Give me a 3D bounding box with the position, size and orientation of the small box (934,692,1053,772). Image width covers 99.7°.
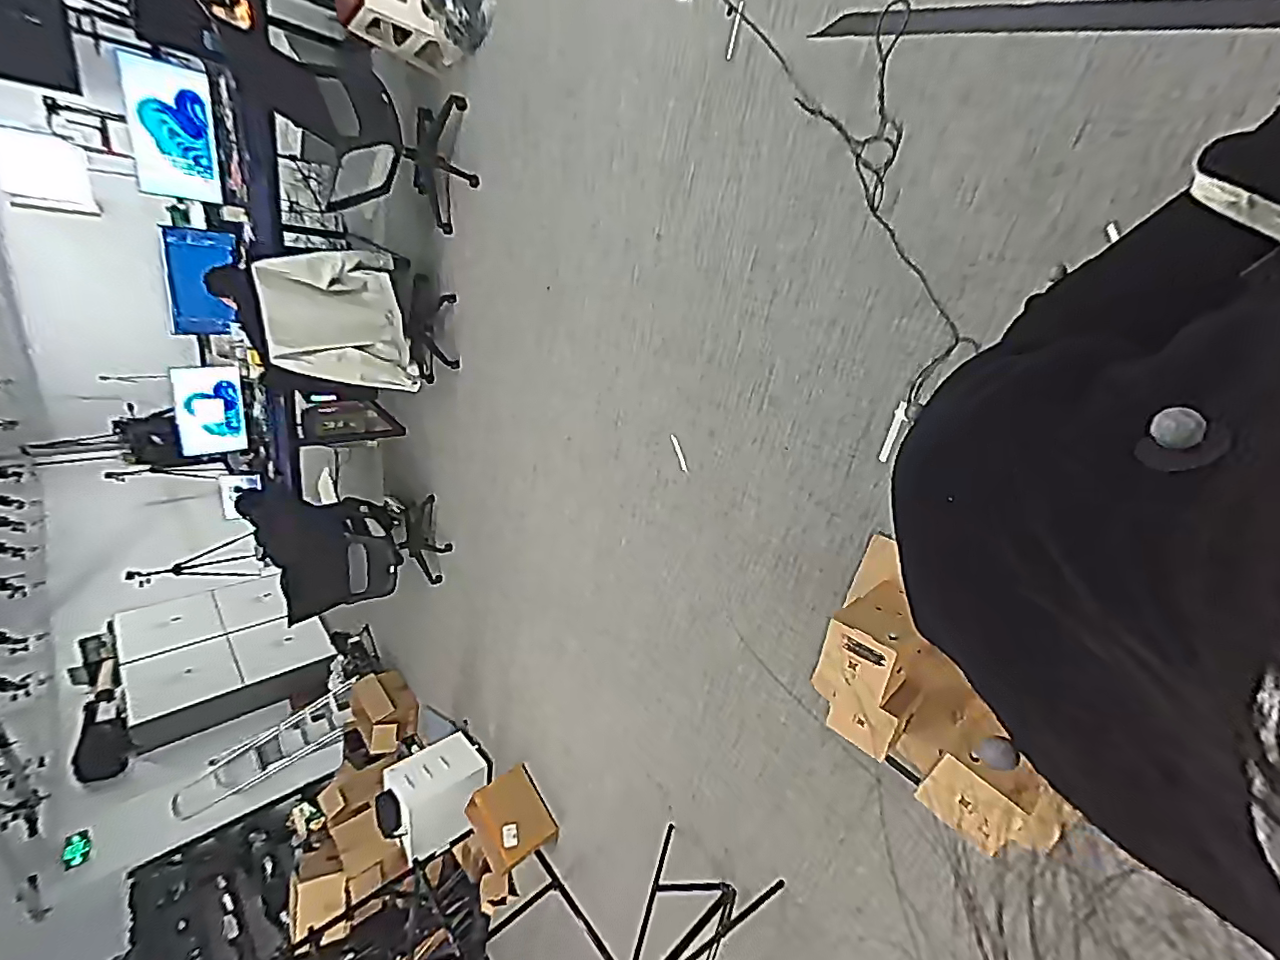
[{"bbox_3d":[0.876,0.656,1.340,0.179,0.176,0.168,35,123,34],"label":"small box"}]

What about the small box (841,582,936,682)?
[{"bbox_3d":[0.683,0.405,1.477,0.168,0.176,0.179,27,119,39],"label":"small box"}]

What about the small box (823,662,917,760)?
[{"bbox_3d":[0.664,0.653,1.560,0.179,0.176,0.168,27,119,38],"label":"small box"}]

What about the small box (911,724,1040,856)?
[{"bbox_3d":[0.761,0.686,1.226,0.179,0.176,0.168,36,124,33],"label":"small box"}]
